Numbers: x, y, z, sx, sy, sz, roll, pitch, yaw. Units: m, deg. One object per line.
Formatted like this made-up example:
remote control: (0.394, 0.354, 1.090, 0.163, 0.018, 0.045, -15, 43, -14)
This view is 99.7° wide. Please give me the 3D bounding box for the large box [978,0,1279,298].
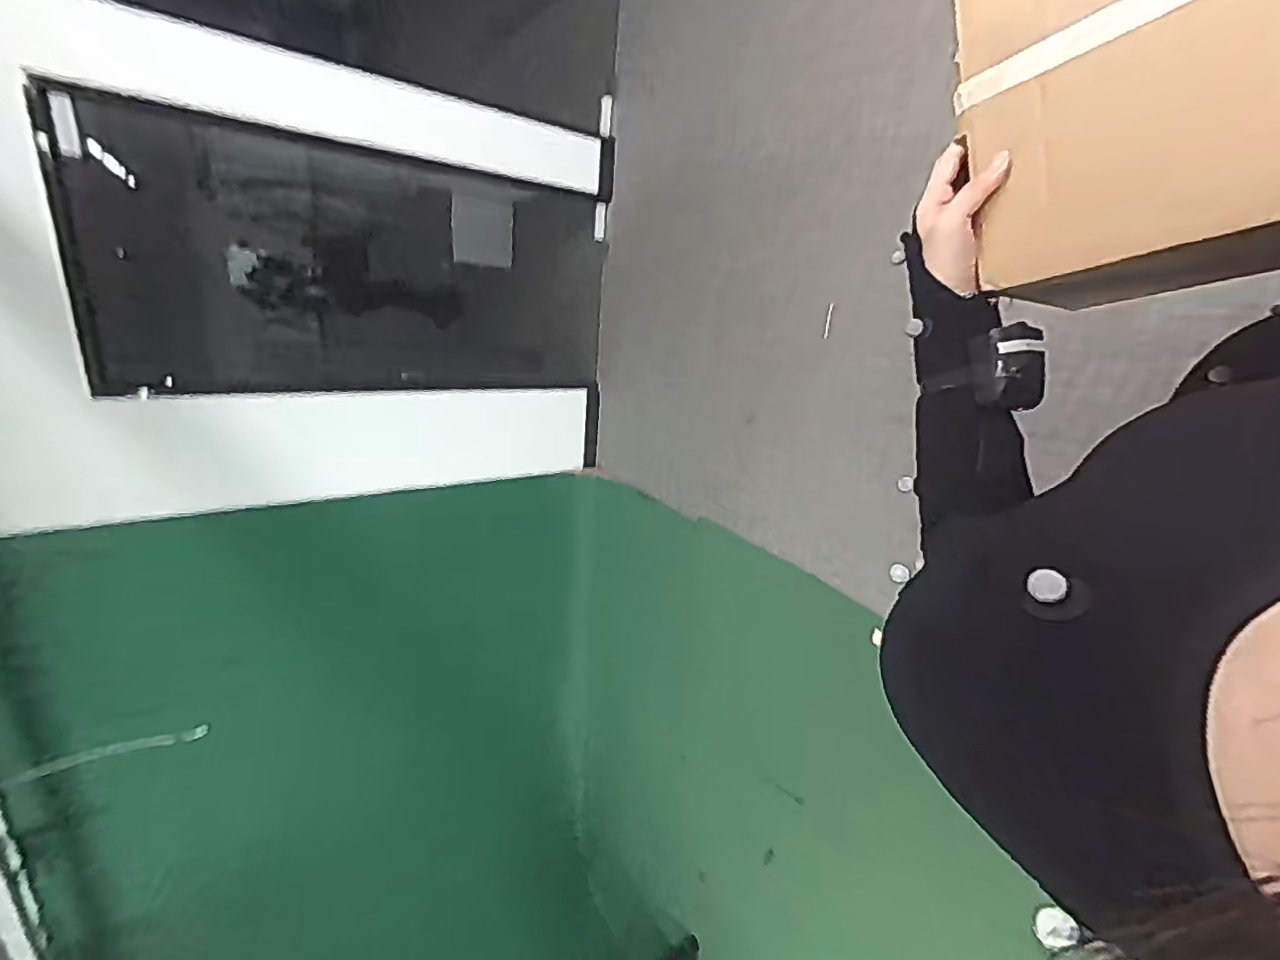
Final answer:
large box: (0.511, -0.346, 0.380, 0.408, 0.320, 0.320, -2, 98, 48)
